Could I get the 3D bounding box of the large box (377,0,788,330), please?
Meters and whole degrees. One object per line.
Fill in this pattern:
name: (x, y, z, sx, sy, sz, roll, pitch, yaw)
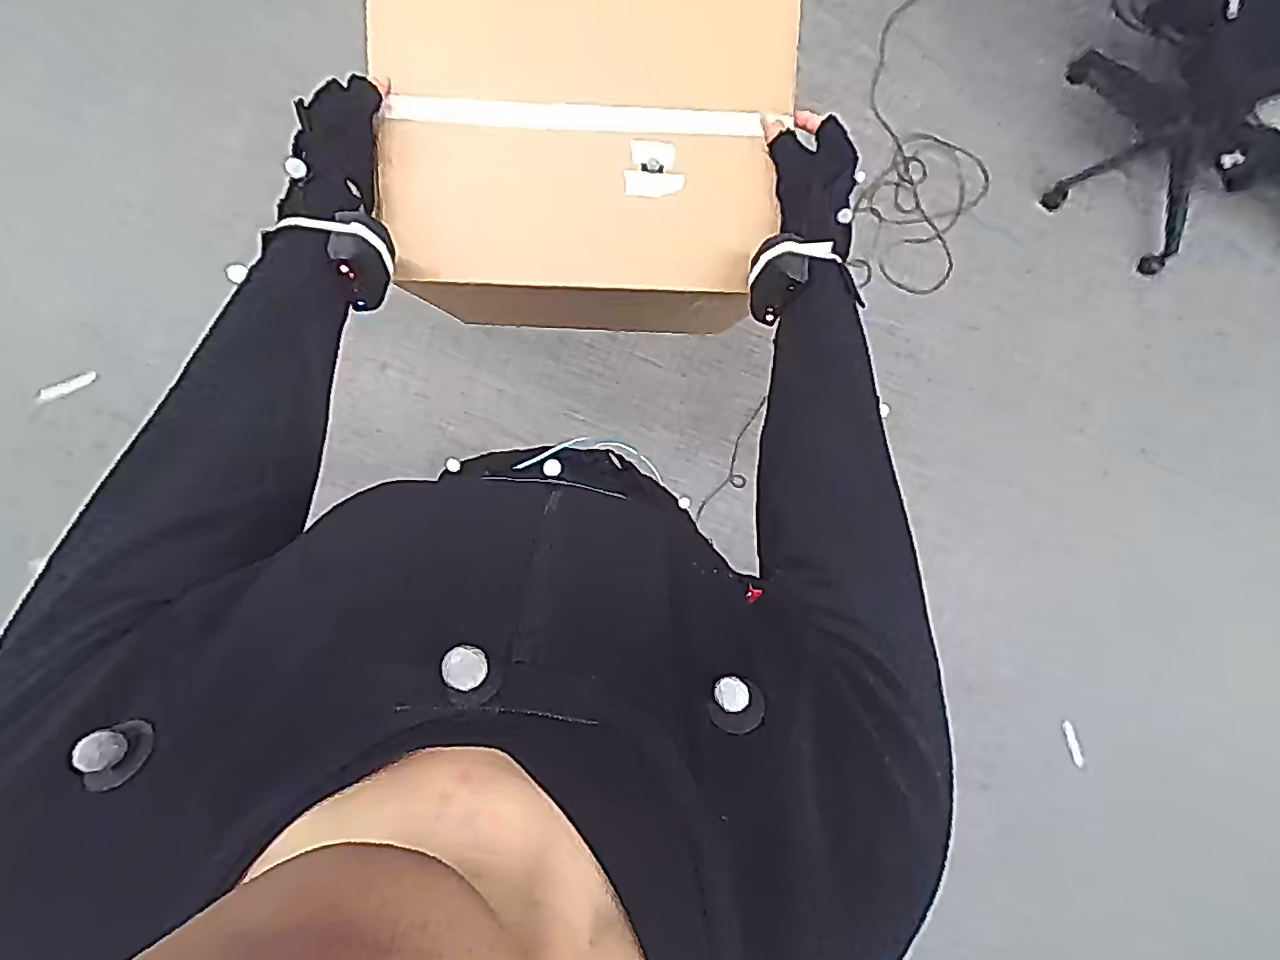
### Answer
large box: (-0.062, -0.371, 0.684, 0.408, 0.320, 0.320, 0, 98, -4)
